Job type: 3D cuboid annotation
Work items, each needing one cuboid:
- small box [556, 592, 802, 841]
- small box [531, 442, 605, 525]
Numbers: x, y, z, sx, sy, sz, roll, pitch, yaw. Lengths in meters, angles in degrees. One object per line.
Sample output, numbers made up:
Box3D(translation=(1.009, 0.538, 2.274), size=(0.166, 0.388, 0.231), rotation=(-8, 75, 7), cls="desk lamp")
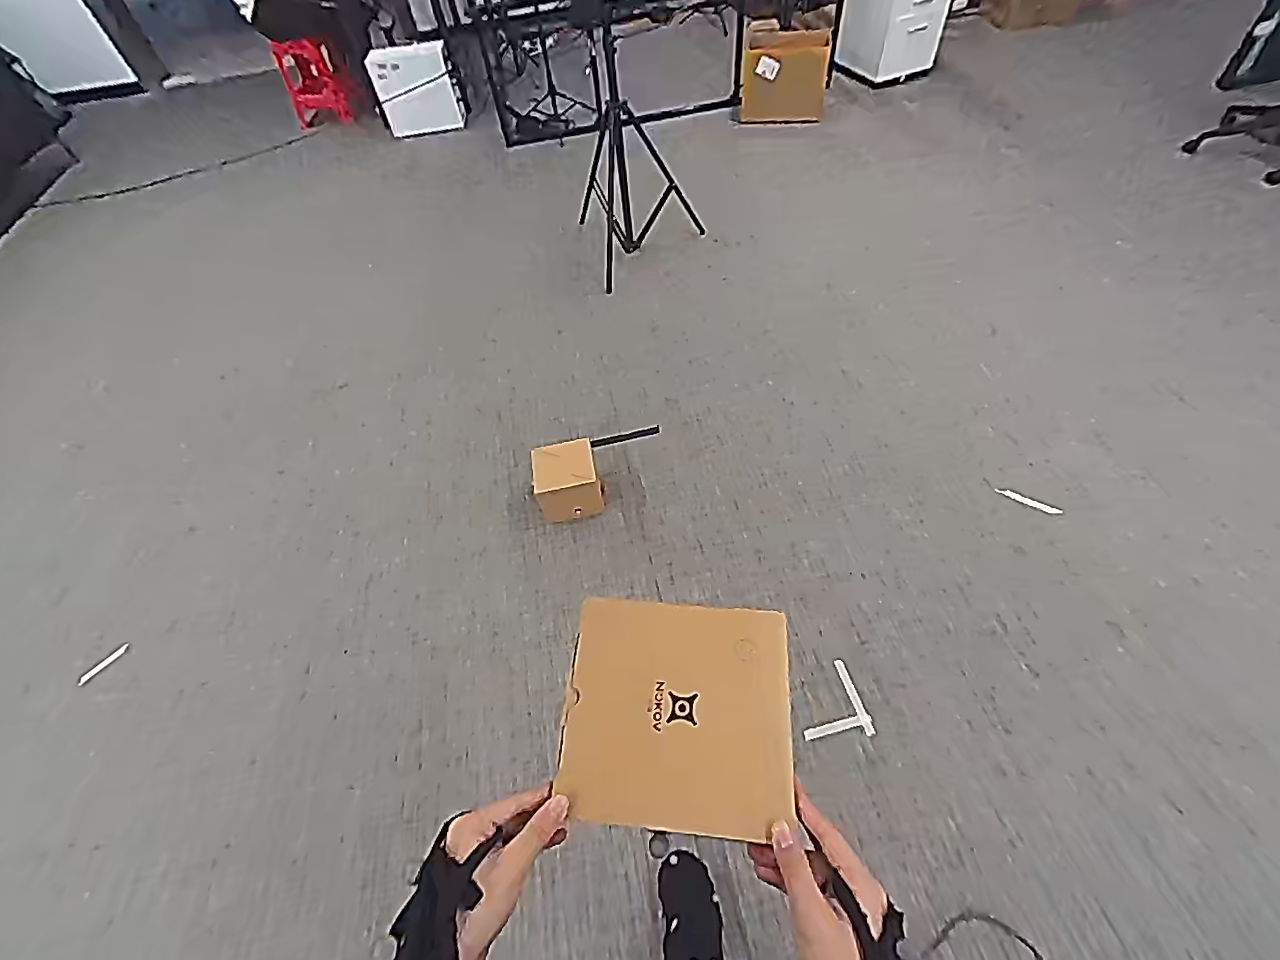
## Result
Box3D(translation=(0.039, 0.214, 0.488), size=(0.179, 0.176, 0.168), rotation=(3, 58, 7), cls="small box")
Box3D(translation=(-0.213, 0.008, 1.607), size=(0.179, 0.176, 0.168), rotation=(-11, 54, -3), cls="small box")
